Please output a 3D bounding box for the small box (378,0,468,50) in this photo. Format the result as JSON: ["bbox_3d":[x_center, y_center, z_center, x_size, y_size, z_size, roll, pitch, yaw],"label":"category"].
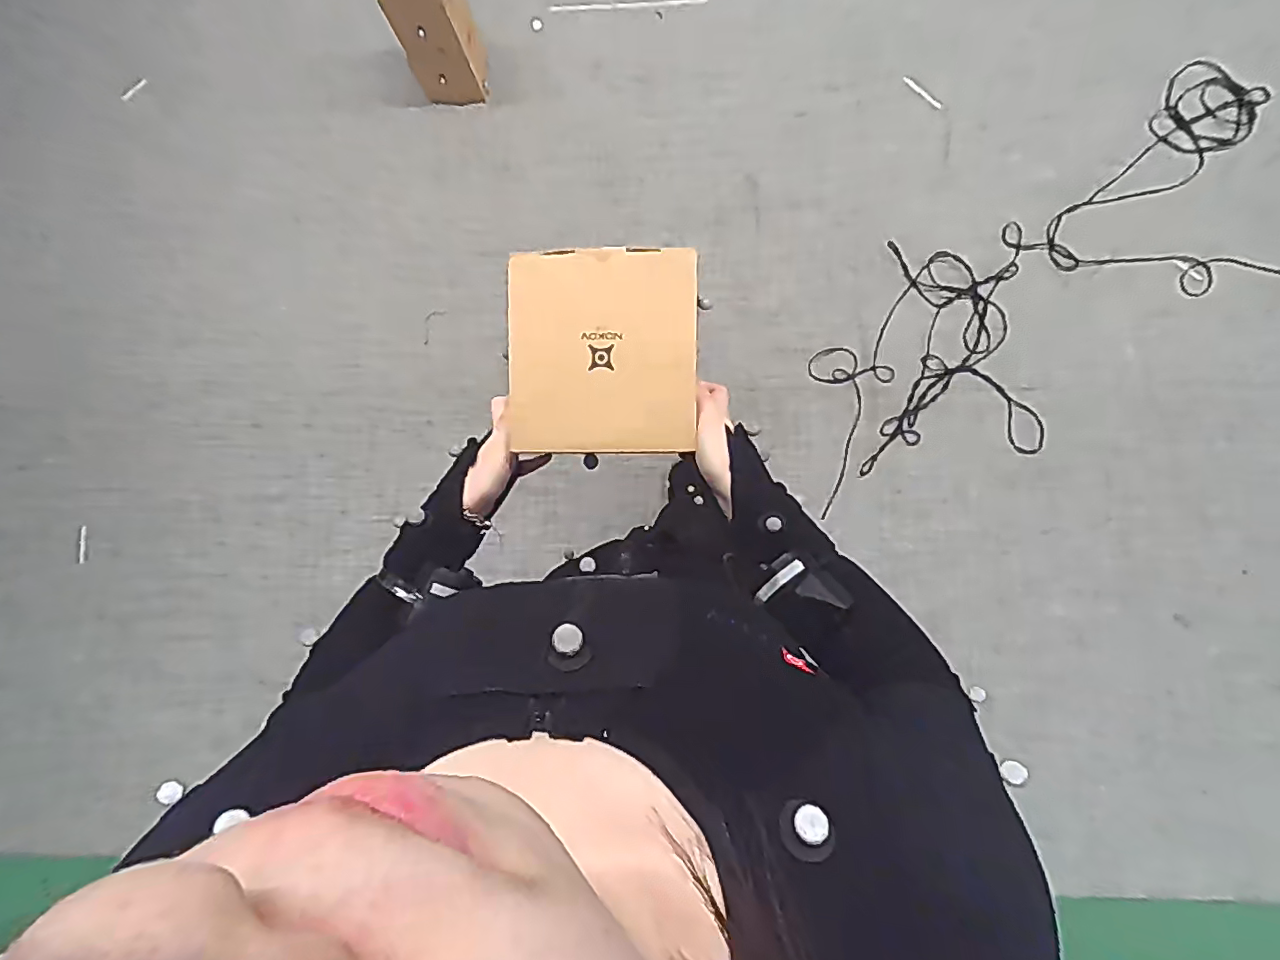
[{"bbox_3d":[-0.551,-1.245,1.381,0.168,0.176,0.179,2,86,2],"label":"small box"}]

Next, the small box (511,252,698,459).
[{"bbox_3d":[-0.025,-0.110,0.547,0.168,0.176,0.179,-1,92,4],"label":"small box"}]

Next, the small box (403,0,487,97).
[{"bbox_3d":[-0.550,-1.233,1.545,0.179,0.176,0.168,1,86,4],"label":"small box"}]
